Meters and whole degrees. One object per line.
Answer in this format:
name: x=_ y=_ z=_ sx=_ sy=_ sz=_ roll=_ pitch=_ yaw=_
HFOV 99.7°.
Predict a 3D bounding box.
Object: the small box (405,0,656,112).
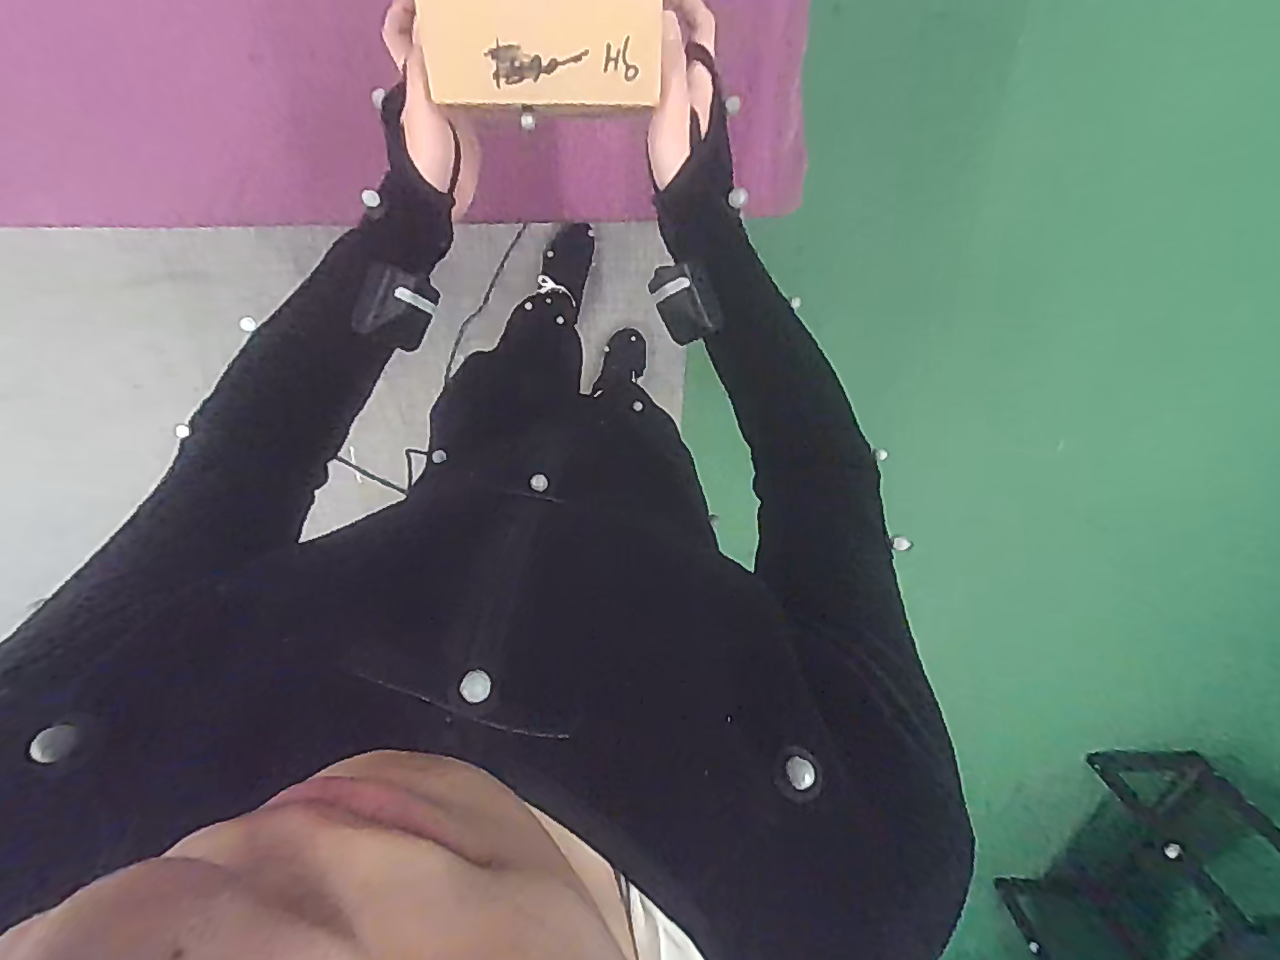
small box: x=-0.073 y=-0.388 z=0.401 sx=0.168 sy=0.176 sz=0.179 roll=0 pitch=121 yaw=-1
